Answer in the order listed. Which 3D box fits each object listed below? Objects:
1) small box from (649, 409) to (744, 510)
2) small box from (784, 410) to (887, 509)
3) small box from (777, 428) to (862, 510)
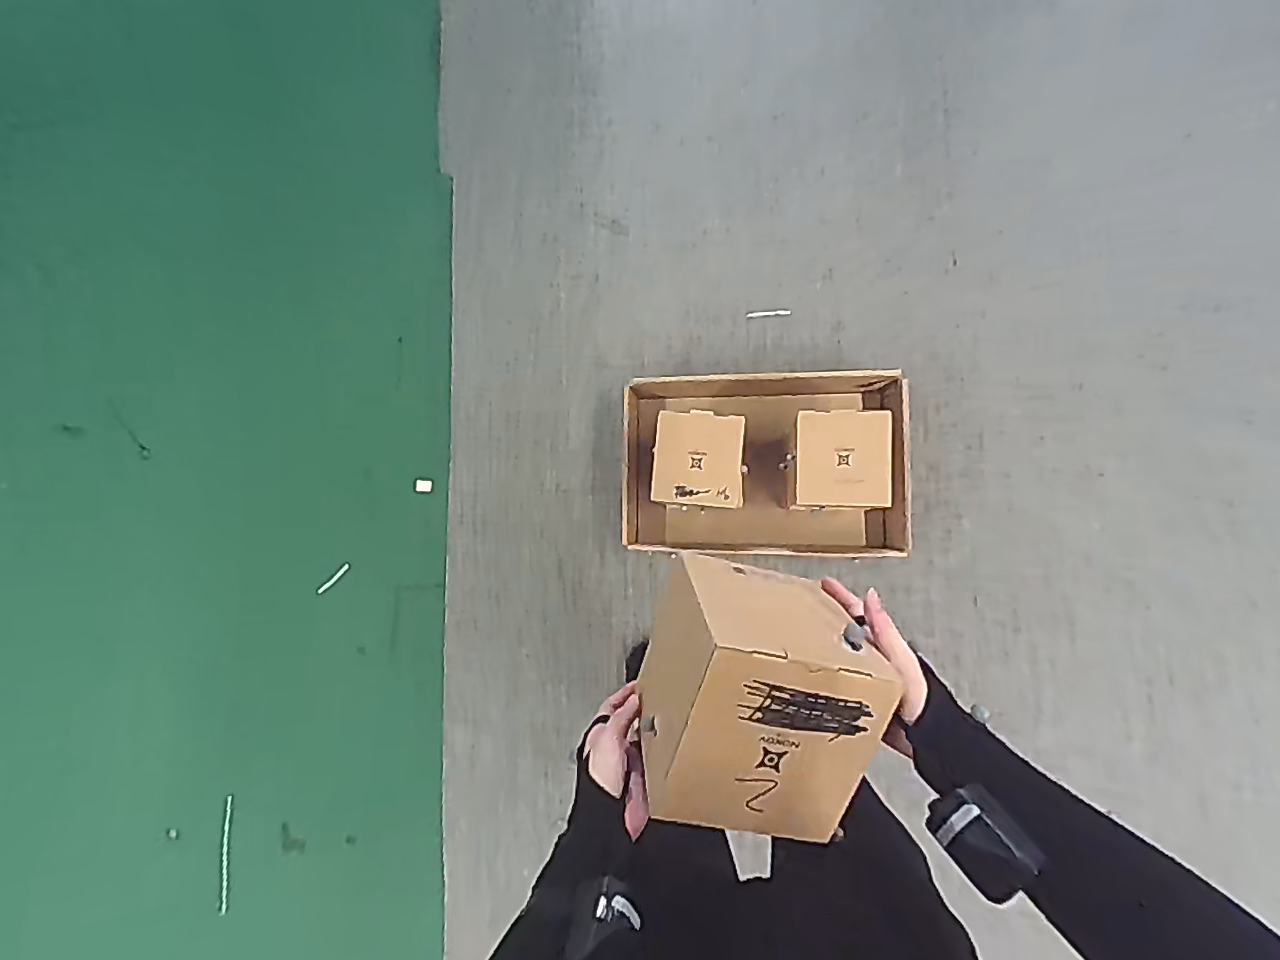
[{"bbox_3d":[0.117,-0.036,1.105,0.168,0.176,0.179,6,86,8],"label":"small box"},{"bbox_3d":[0.379,-0.036,1.071,0.168,0.176,0.179,2,87,10],"label":"small box"},{"bbox_3d":[0.406,-0.021,1.231,0.168,0.176,0.179,0,86,9],"label":"small box"}]
